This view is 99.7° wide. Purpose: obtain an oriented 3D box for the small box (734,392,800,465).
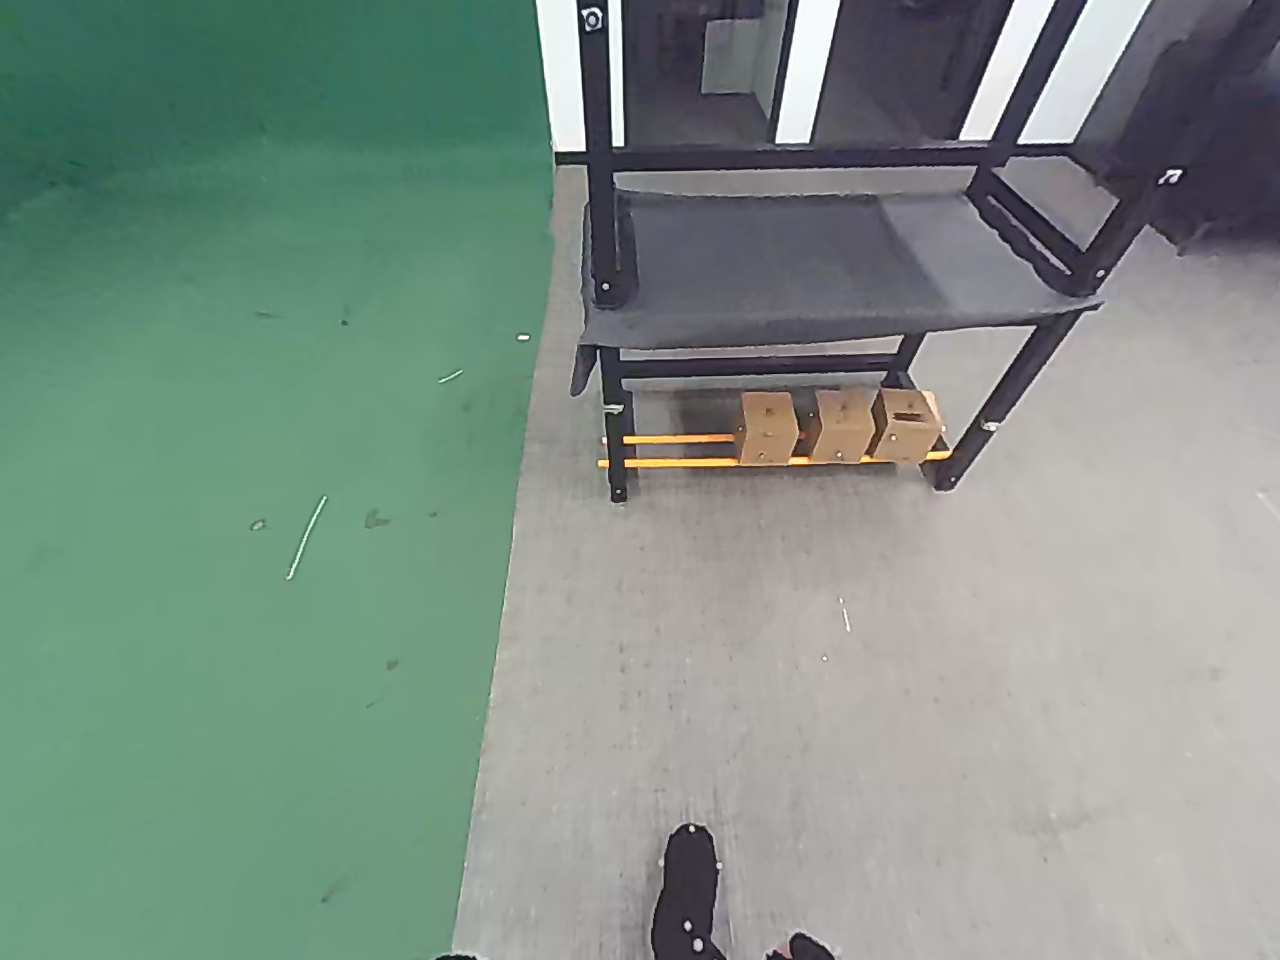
[{"bbox_3d":[0.409,-0.168,1.768,0.168,0.176,0.179,0,54,-1],"label":"small box"}]
